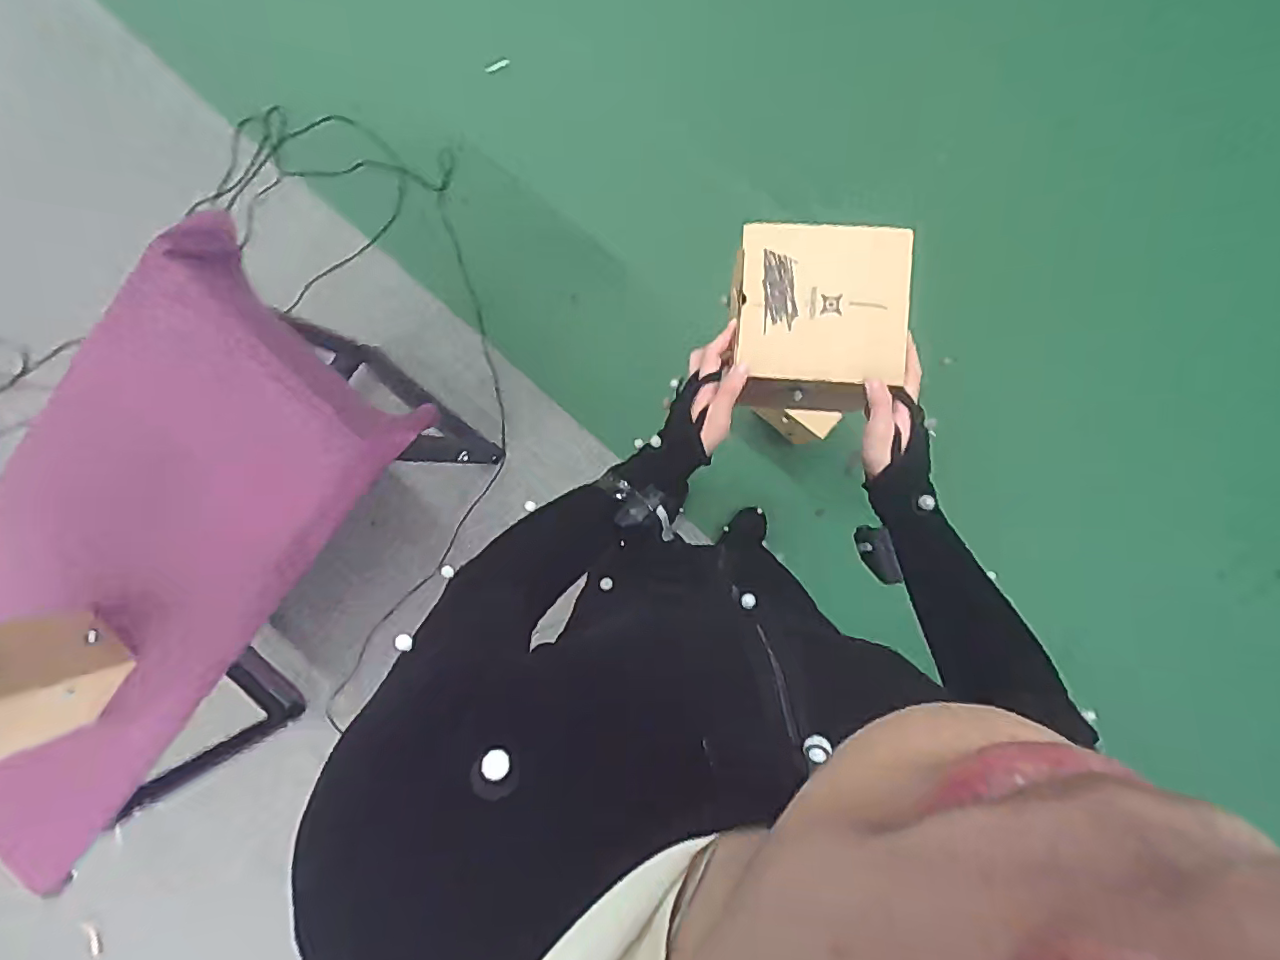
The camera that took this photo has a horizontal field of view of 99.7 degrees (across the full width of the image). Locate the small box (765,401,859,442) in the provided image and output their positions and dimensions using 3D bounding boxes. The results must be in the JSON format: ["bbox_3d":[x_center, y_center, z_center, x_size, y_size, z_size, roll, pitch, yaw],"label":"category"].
[{"bbox_3d":[0.428,-0.206,1.342,0.179,0.176,0.168,39,96,8],"label":"small box"}]

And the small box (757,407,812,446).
[{"bbox_3d":[0.446,-0.209,1.503,0.179,0.176,0.168,42,96,7],"label":"small box"}]

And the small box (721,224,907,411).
[{"bbox_3d":[0.190,-0.179,0.640,0.179,0.176,0.168,4,87,5],"label":"small box"}]
